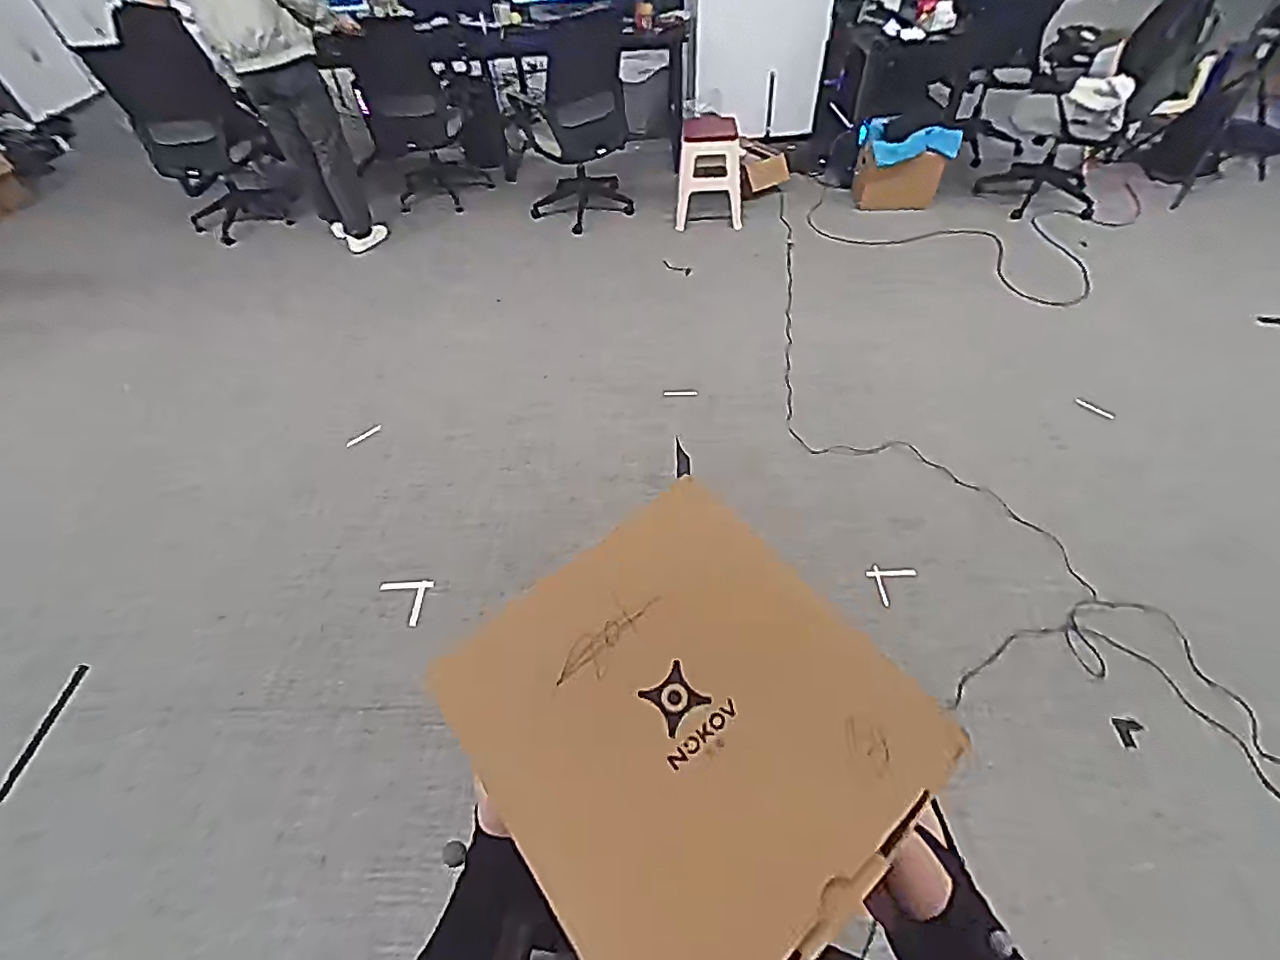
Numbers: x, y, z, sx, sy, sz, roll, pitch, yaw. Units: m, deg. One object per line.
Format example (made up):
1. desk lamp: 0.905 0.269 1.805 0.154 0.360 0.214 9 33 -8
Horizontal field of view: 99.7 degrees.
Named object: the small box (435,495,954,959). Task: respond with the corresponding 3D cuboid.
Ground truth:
1. small box: 0.024 0.149 0.309 0.168 0.176 0.179 -37 60 -19
